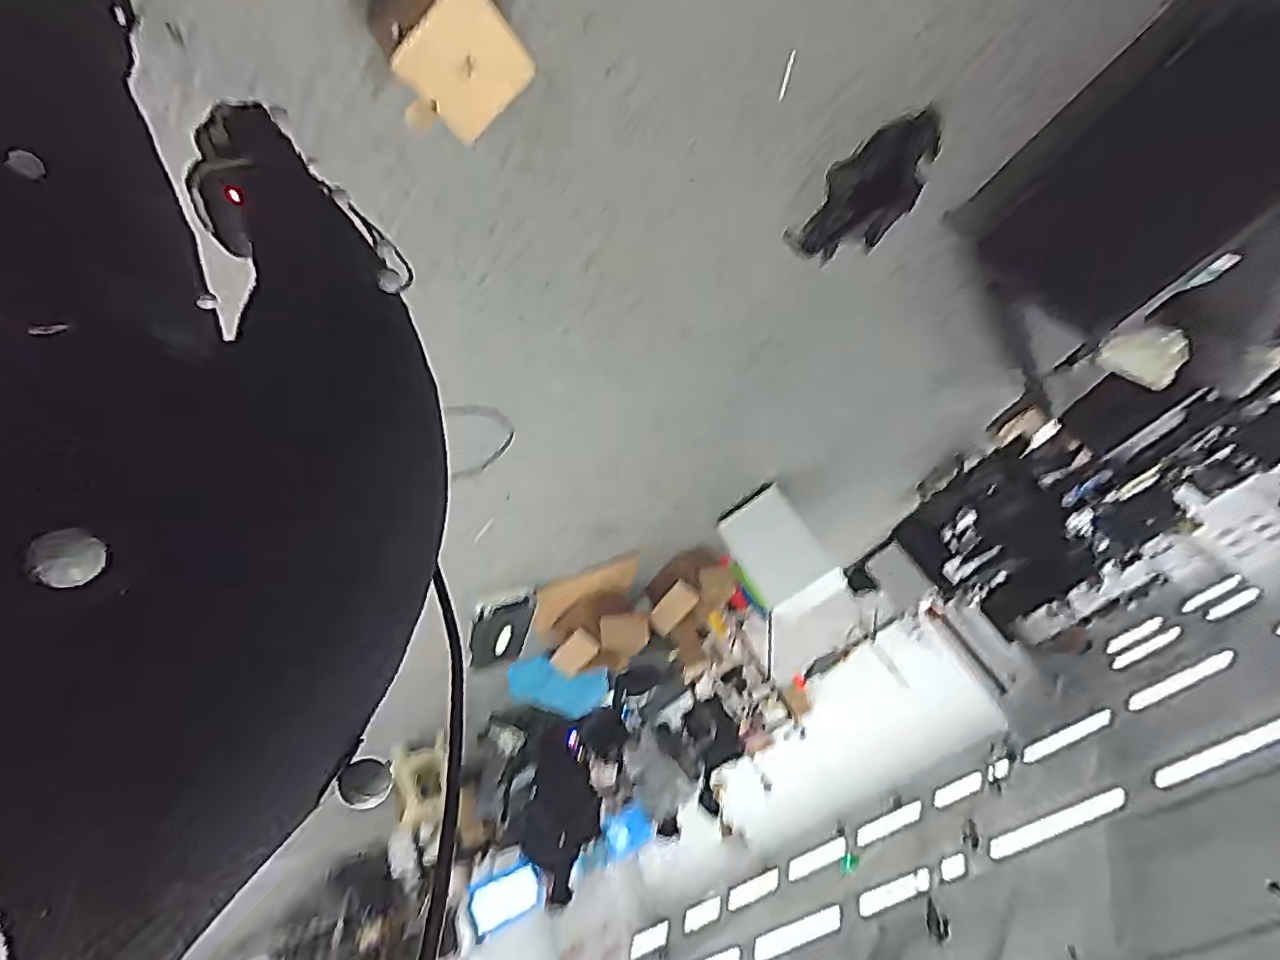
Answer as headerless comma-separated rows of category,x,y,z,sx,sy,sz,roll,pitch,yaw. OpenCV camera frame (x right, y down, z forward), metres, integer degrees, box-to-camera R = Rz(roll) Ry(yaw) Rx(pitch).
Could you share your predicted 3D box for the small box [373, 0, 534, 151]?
small box,-0.317,-0.713,0.908,0.179,0.176,0.168,-39,150,13
